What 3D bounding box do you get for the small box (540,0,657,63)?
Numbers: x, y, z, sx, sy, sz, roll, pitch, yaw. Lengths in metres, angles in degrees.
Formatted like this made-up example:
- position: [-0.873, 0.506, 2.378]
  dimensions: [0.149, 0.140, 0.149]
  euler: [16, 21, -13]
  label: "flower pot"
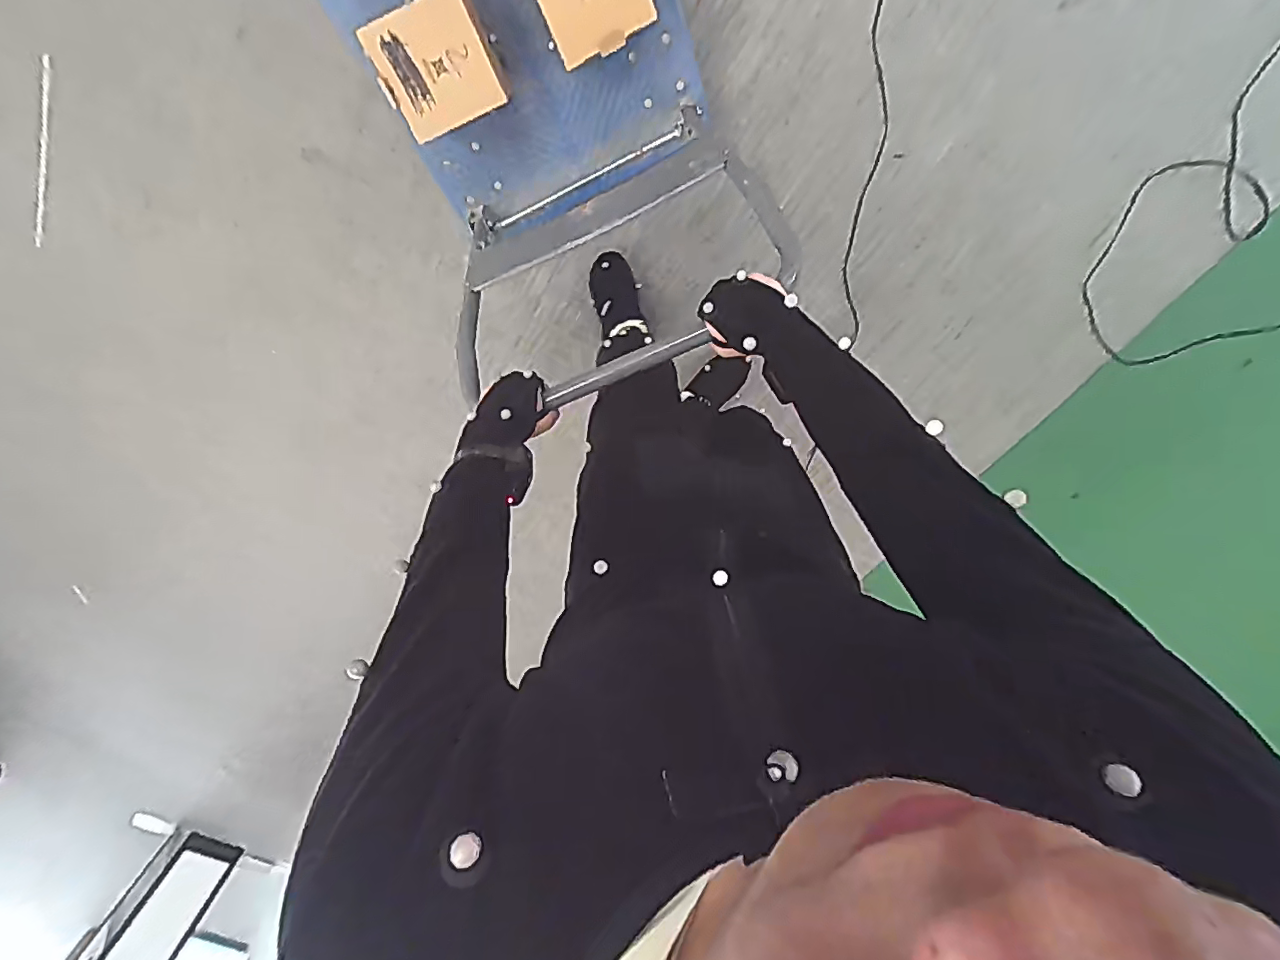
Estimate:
- position: [-0.090, -0.824, 0.877]
  dimensions: [0.168, 0.176, 0.179]
  euler: [-22, 134, 12]
  label: "small box"
